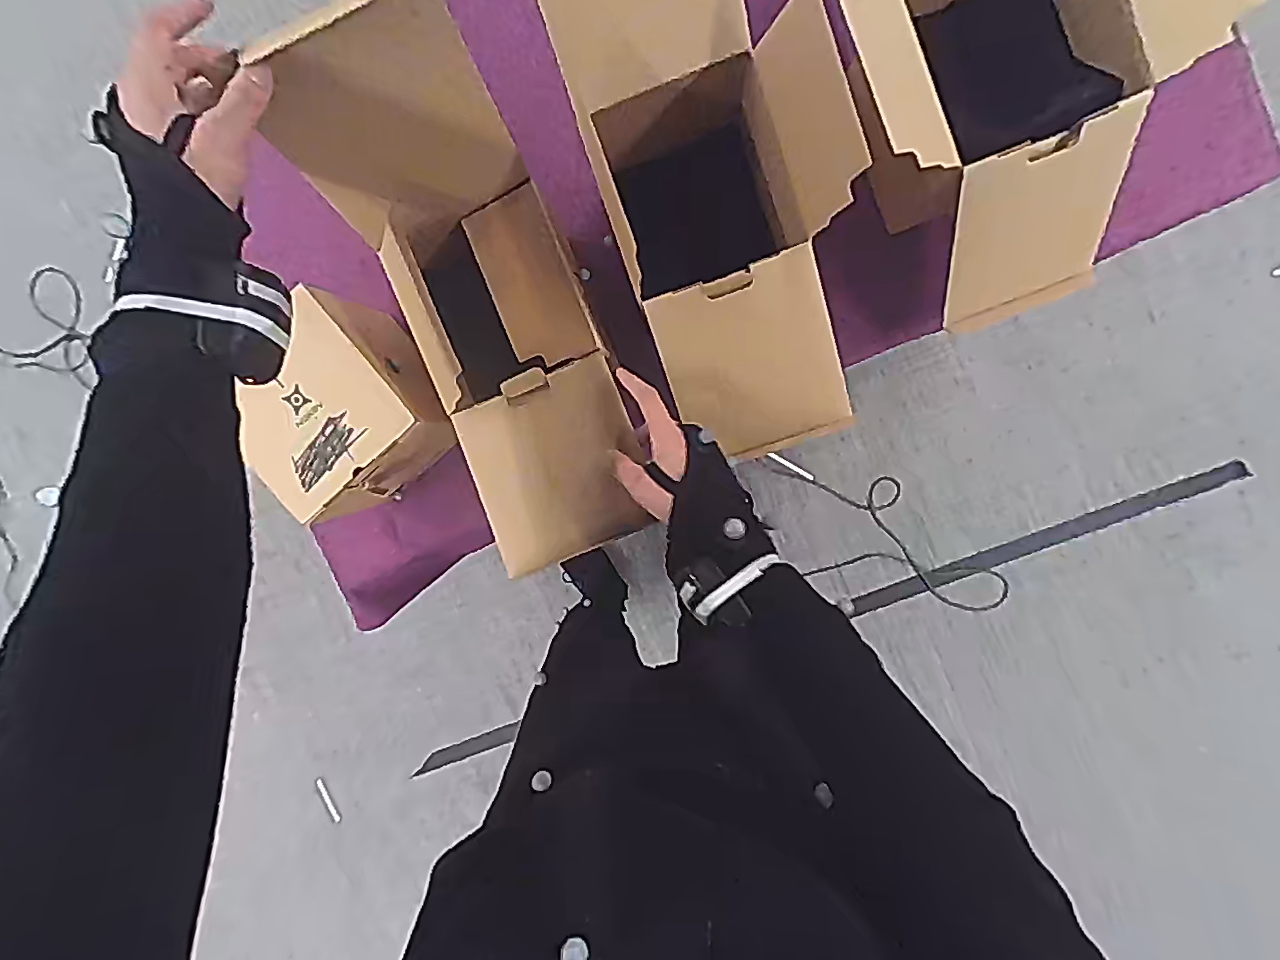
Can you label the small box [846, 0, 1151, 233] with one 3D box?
[{"bbox_3d":[0.326,-0.381,0.532,0.168,0.176,0.179,-21,94,7],"label":"small box"}]
